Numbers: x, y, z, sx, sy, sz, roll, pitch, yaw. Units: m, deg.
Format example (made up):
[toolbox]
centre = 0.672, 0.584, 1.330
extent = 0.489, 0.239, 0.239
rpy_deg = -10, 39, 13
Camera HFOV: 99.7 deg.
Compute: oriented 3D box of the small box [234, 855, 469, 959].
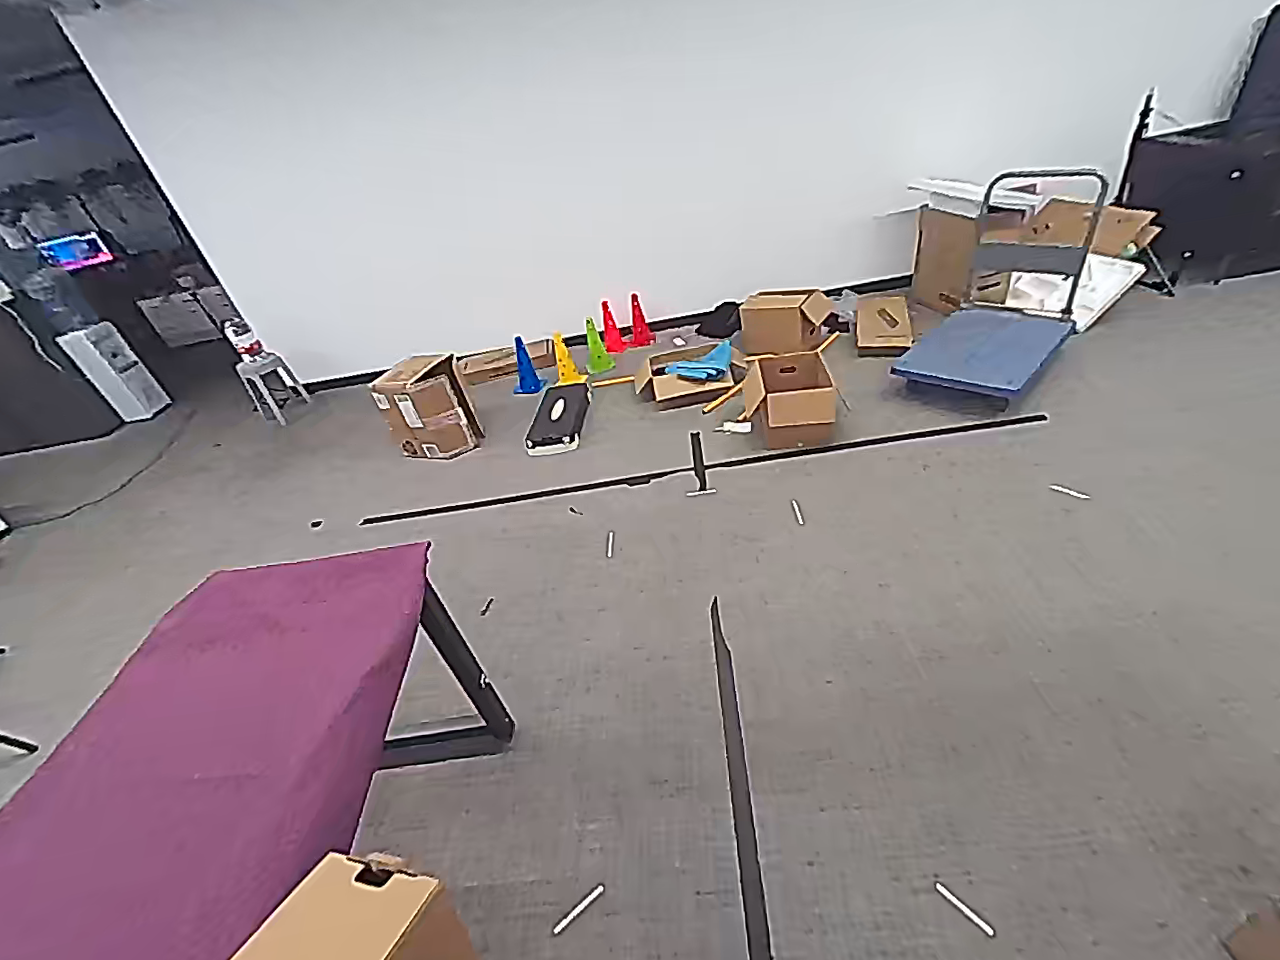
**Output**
[small box]
centre = -0.273, 0.502, 0.498
extent = 0.168, 0.176, 0.179
rpy_deg = -7, 16, 25
